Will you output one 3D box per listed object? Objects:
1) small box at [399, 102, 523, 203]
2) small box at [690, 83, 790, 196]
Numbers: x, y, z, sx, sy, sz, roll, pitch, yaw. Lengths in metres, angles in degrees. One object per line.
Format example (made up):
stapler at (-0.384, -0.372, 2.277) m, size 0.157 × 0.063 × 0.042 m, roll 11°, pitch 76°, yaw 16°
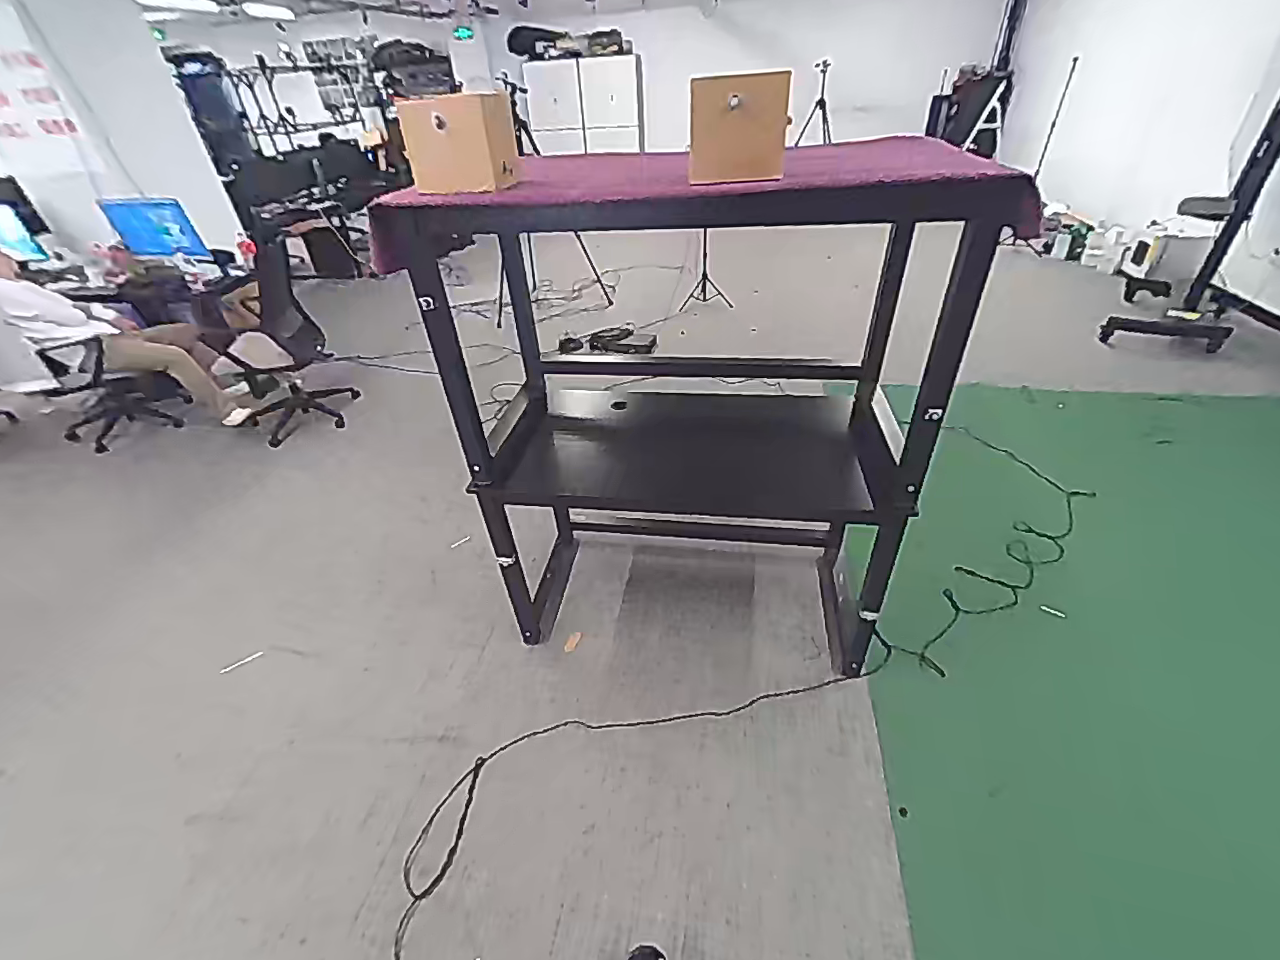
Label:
small box at (-0.364, -0.687, 1.134) m, size 0.179 × 0.176 × 0.168 m, roll 3°, pitch 36°, yaw 8°
small box at (0.187, -0.665, 1.056) m, size 0.179 × 0.176 × 0.168 m, roll 0°, pitch 35°, yaw 7°
